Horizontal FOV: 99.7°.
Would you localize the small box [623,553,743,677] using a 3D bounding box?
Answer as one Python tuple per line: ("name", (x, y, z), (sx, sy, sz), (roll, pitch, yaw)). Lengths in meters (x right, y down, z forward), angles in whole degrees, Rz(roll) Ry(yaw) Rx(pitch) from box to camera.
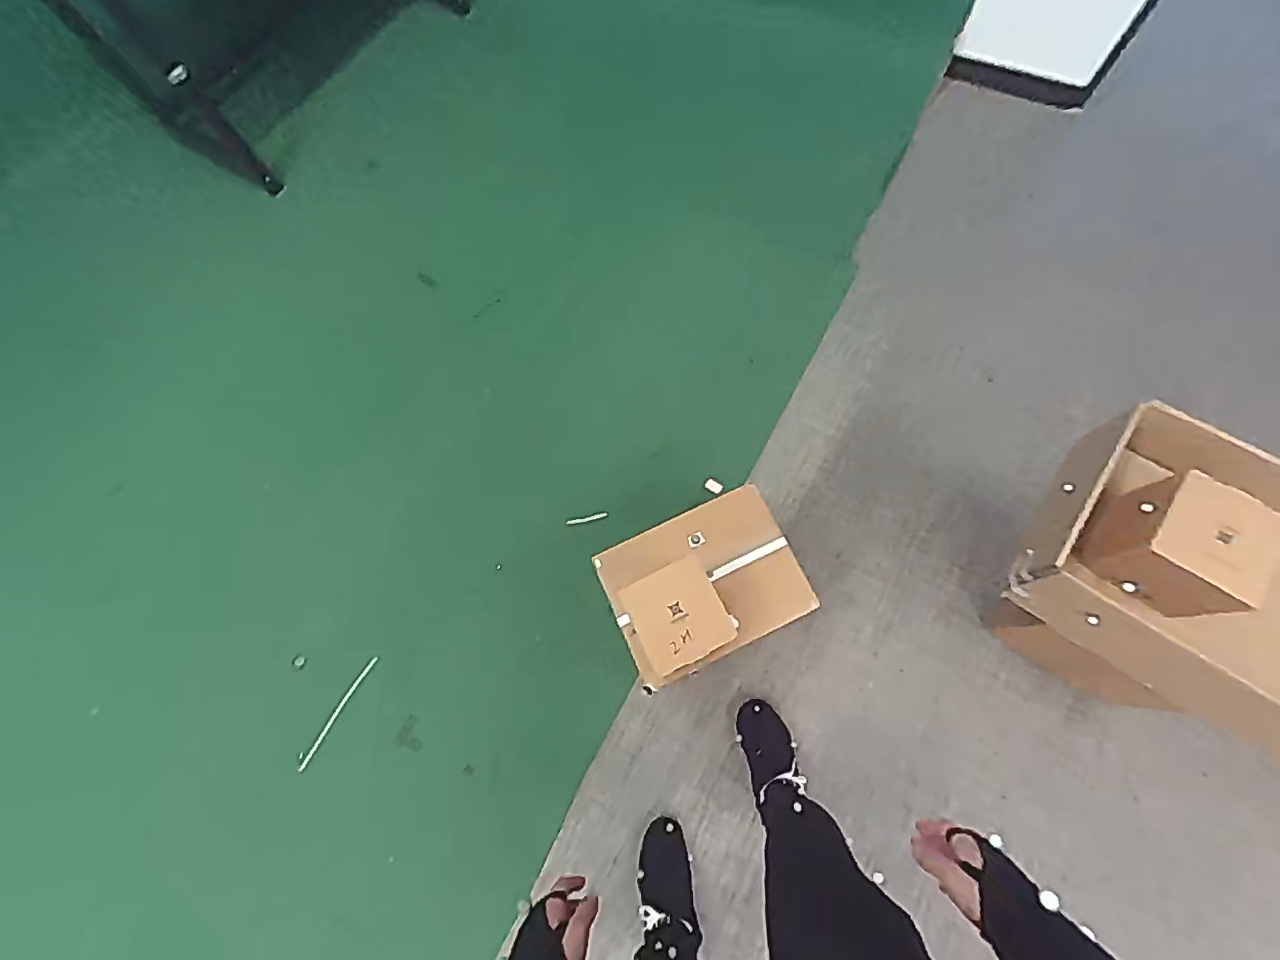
("small box", (0.078, 0.267, 1.054), (0.168, 0.176, 0.179), (-26, 72, -5))
